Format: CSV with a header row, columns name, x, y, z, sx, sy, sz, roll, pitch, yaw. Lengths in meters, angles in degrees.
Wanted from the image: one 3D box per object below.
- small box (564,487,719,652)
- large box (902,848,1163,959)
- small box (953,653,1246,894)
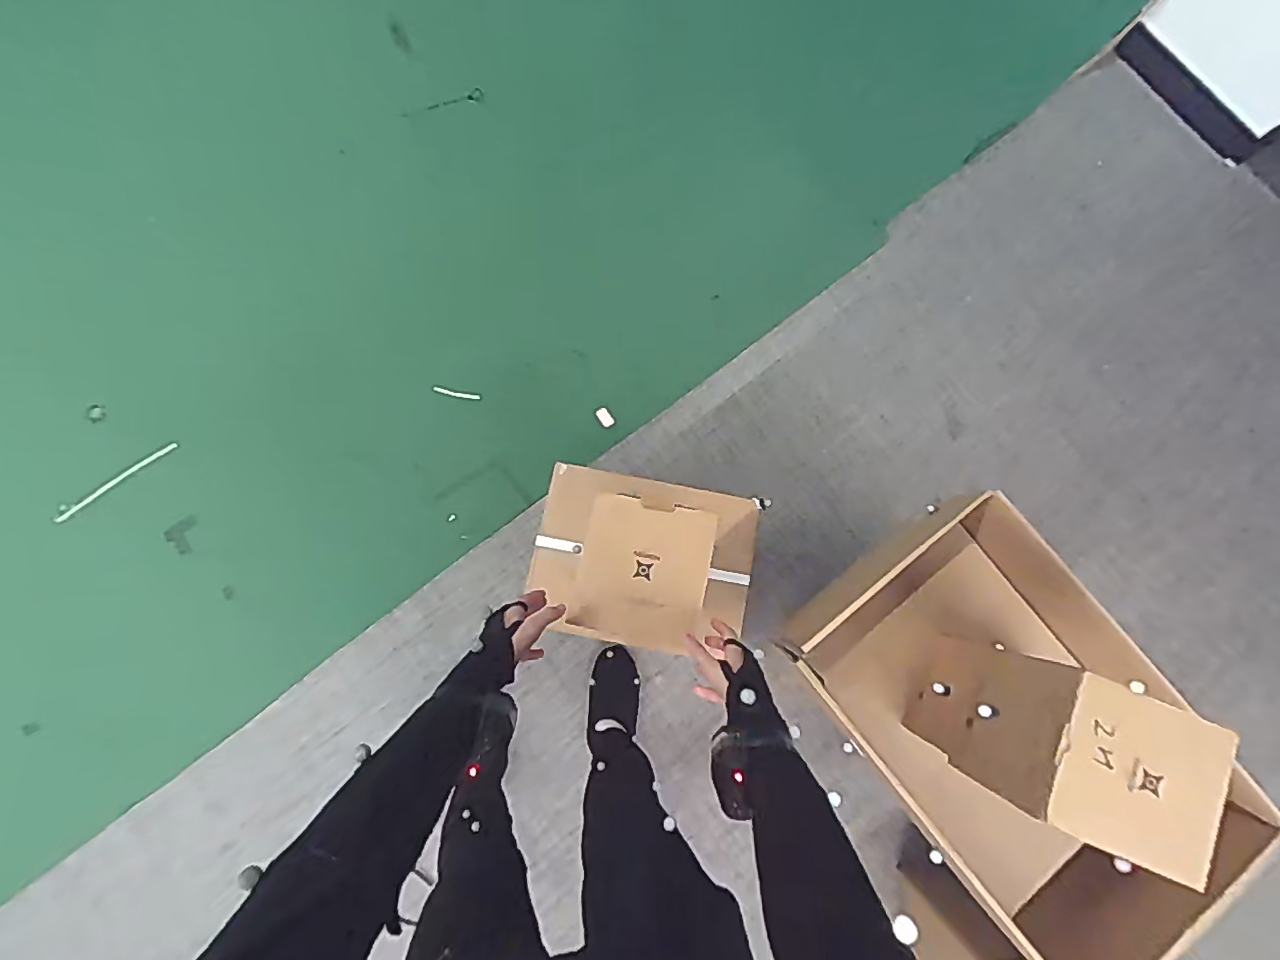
name,x,y,z,sx,sy,sz,roll,pitch,yaw
small box,0.001,0.122,0.751,0.168,0.176,0.179,12,81,1
large box,0.767,1.029,1.048,0.320,0.320,0.408,-7,83,-2
small box,0.513,0.317,0.628,0.179,0.176,0.168,23,81,3
